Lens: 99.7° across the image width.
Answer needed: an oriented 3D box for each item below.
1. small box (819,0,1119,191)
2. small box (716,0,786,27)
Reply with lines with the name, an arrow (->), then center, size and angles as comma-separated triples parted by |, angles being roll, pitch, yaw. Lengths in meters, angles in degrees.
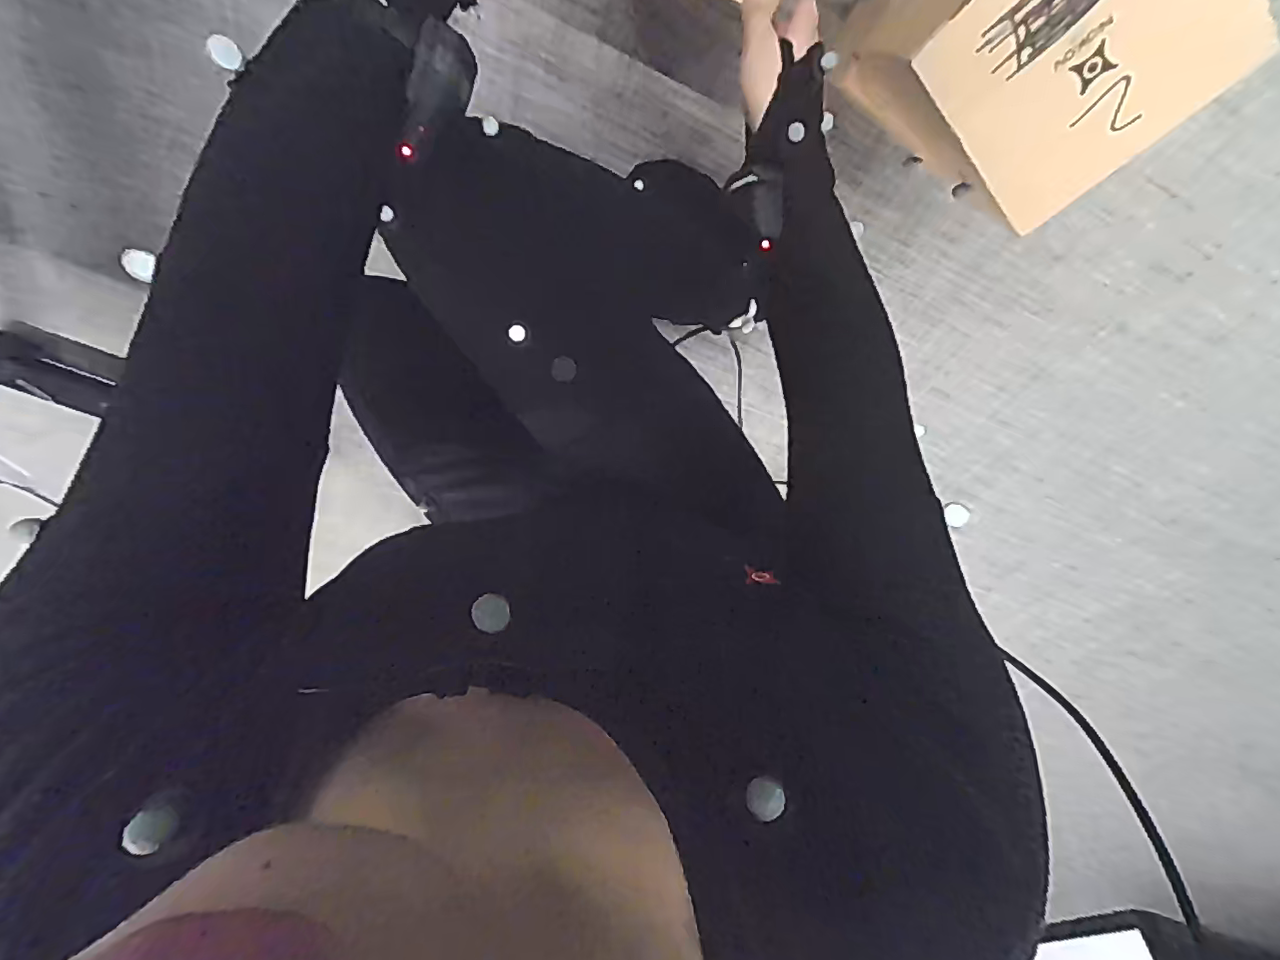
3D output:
small box -> 0.311, -0.440, 0.549 | 0.179, 0.176, 0.168 | 28, 129, -18
small box -> 0.079, -0.547, 0.482 | 0.179, 0.176, 0.168 | 21, 130, -11
